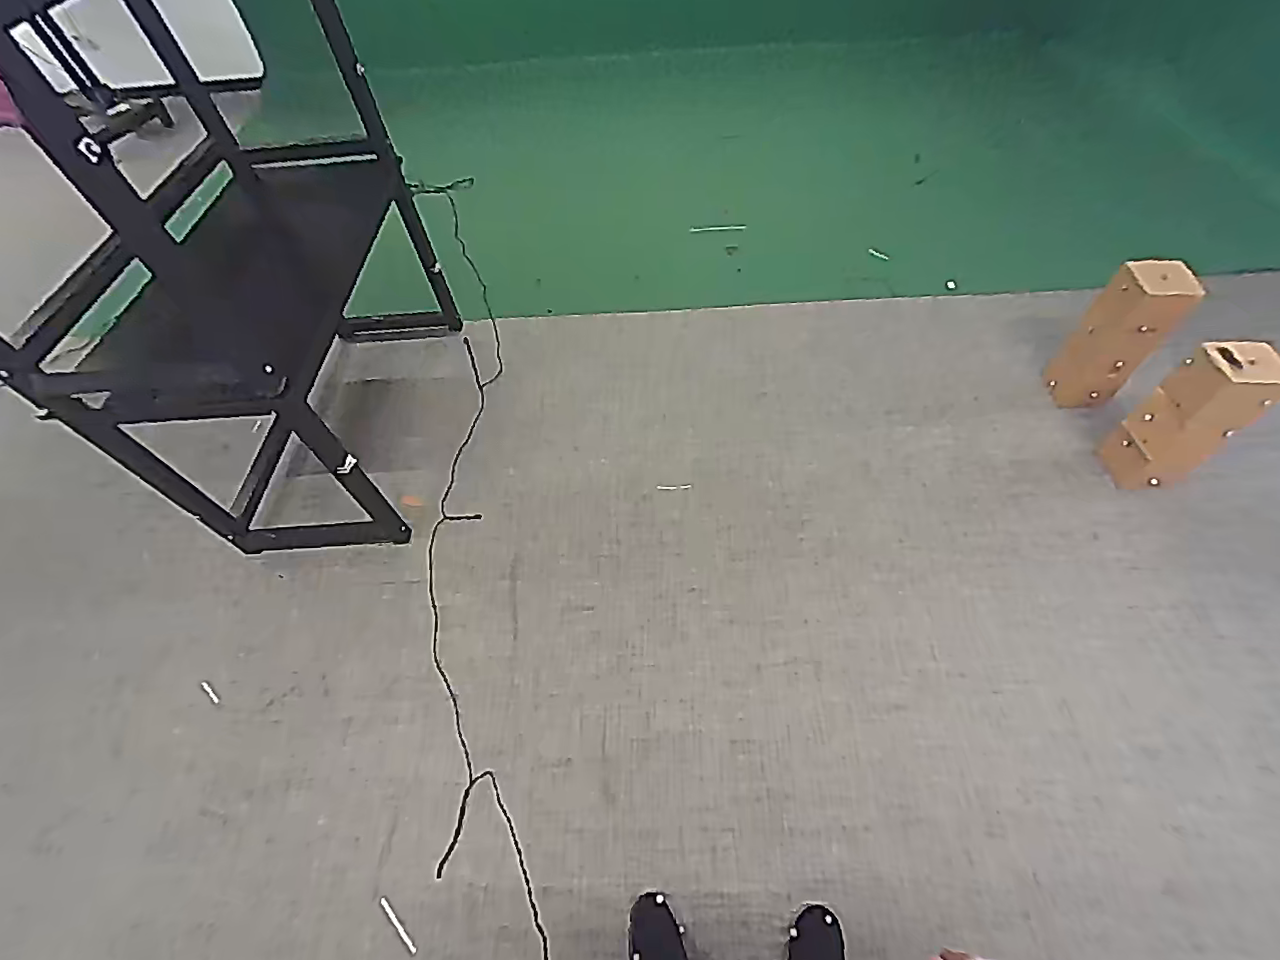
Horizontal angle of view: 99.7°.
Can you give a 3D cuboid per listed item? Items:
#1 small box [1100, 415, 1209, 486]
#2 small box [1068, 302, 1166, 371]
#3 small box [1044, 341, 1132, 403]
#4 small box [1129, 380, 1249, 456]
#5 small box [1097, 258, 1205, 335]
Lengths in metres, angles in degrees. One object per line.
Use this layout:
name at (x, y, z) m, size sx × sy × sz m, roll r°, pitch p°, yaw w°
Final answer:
small box at (1.700, -0.099, 1.803) m, size 0.168 × 0.176 × 0.179 m, roll -1°, pitch 55°, yaw 4°
small box at (1.656, -0.502, 1.892) m, size 0.168 × 0.176 × 0.179 m, roll 1°, pitch 55°, yaw 5°
small box at (1.665, -0.401, 2.022) m, size 0.168 × 0.176 × 0.179 m, roll 0°, pitch 55°, yaw 4°
small box at (1.674, -0.187, 1.669) m, size 0.179 × 0.176 × 0.168 m, roll -4°, pitch 54°, yaw 1°
small box at (1.647, -0.598, 1.760) m, size 0.168 × 0.176 × 0.179 m, roll 2°, pitch 55°, yaw 7°
